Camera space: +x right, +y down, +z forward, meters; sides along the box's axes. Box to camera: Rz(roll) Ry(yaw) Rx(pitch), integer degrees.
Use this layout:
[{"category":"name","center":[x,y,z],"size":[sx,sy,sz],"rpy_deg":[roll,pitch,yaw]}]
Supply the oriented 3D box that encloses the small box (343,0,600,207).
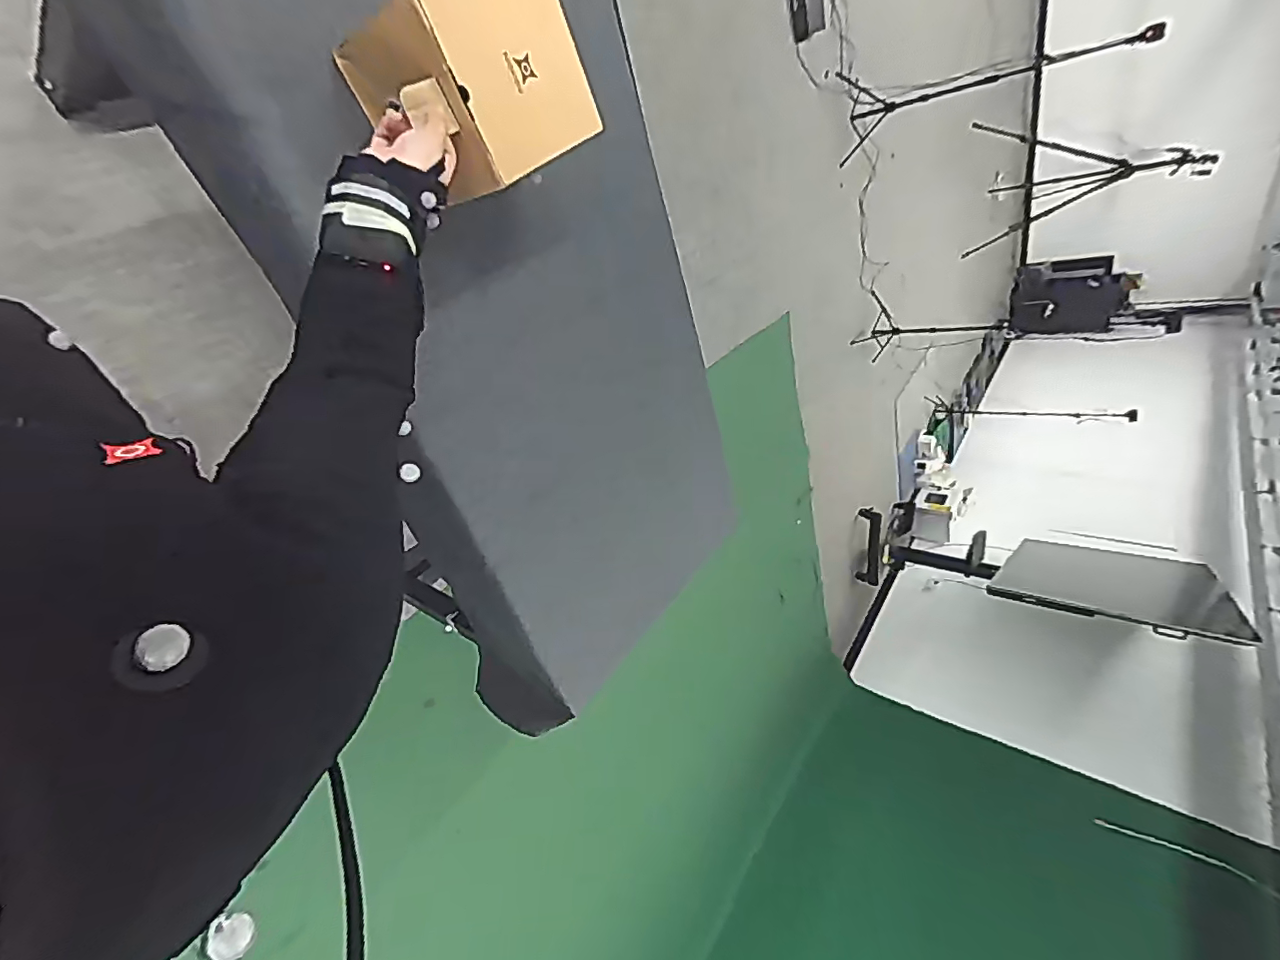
[{"category":"small box","center":[-0.181,-0.428,0.598],"size":[0.179,0.176,0.168],"rpy_deg":[-50,133,-30]}]
